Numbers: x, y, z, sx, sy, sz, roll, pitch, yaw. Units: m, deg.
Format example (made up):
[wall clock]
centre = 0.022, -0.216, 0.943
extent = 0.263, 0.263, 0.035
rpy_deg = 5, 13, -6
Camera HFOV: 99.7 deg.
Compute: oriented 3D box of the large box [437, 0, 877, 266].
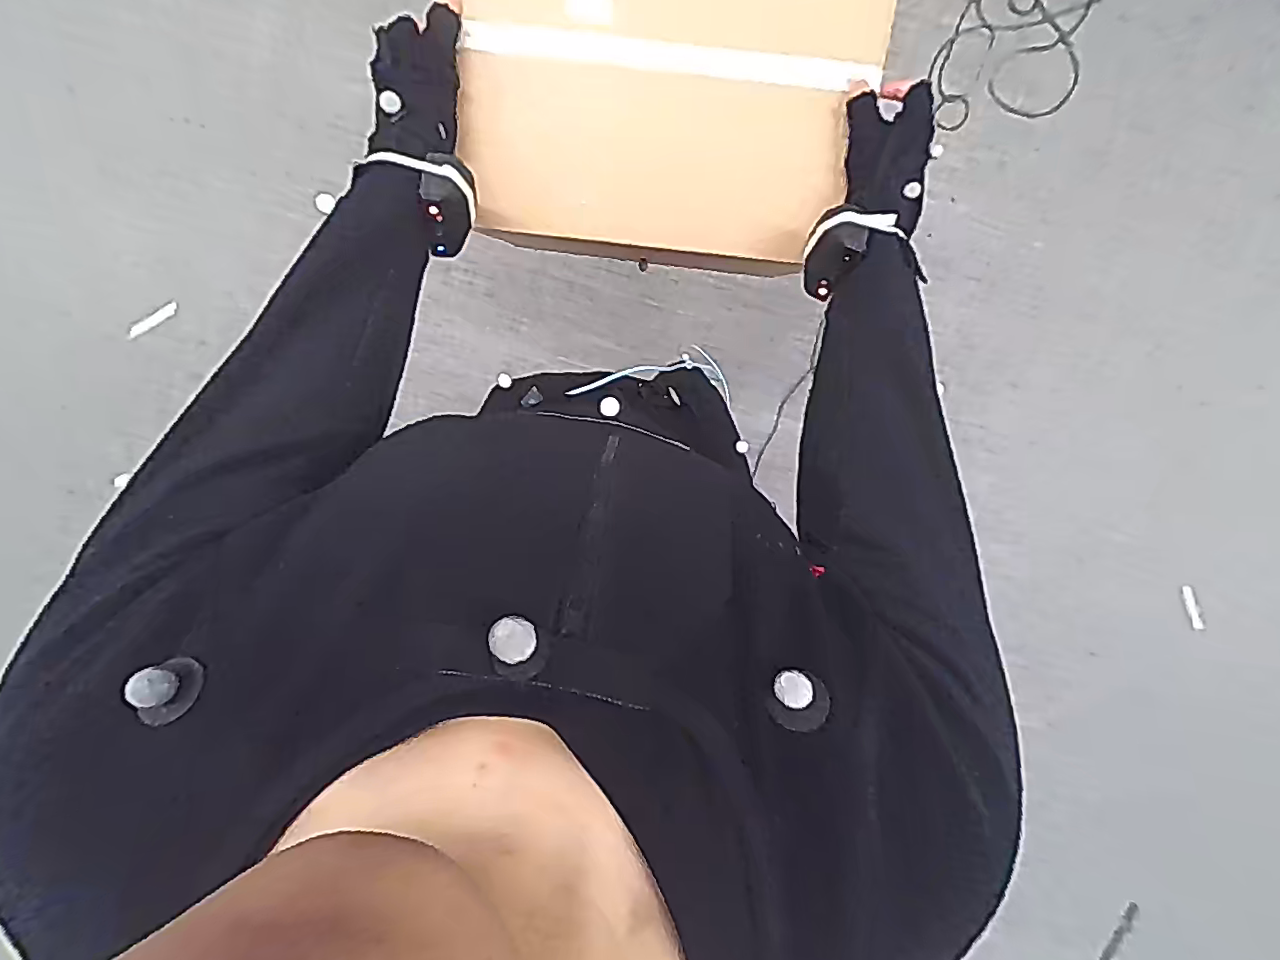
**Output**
[large box]
centre = 0.016, -0.435, 0.642
extent = 0.408, 0.320, 0.320
rpy_deg = 5, 108, 0
